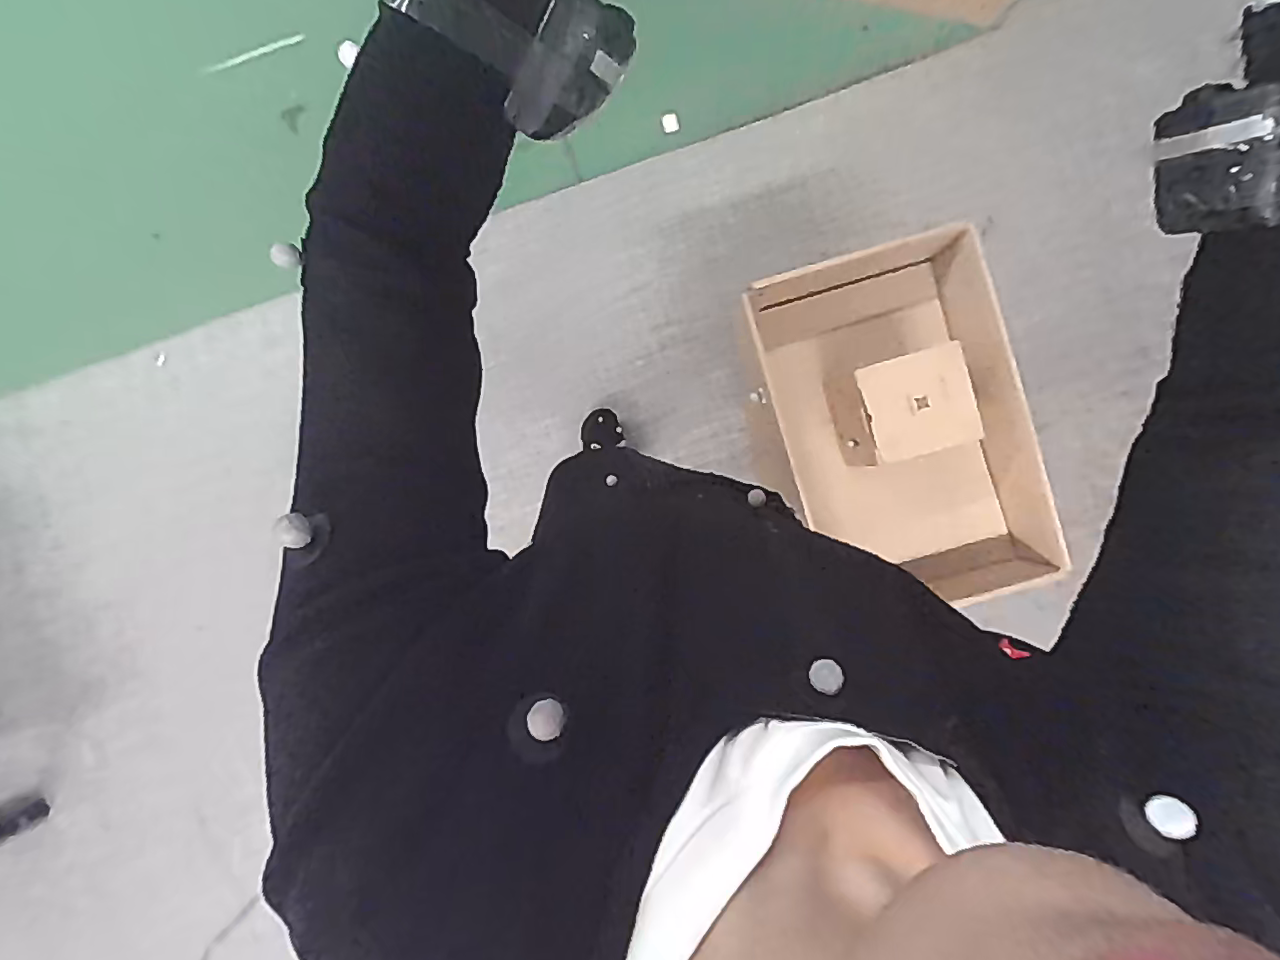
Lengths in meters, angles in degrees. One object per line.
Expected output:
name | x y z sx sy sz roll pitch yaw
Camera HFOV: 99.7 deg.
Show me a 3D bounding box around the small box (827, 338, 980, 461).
small box | 0.450 -0.133 0.957 0.179 0.176 0.168 -16 93 0
